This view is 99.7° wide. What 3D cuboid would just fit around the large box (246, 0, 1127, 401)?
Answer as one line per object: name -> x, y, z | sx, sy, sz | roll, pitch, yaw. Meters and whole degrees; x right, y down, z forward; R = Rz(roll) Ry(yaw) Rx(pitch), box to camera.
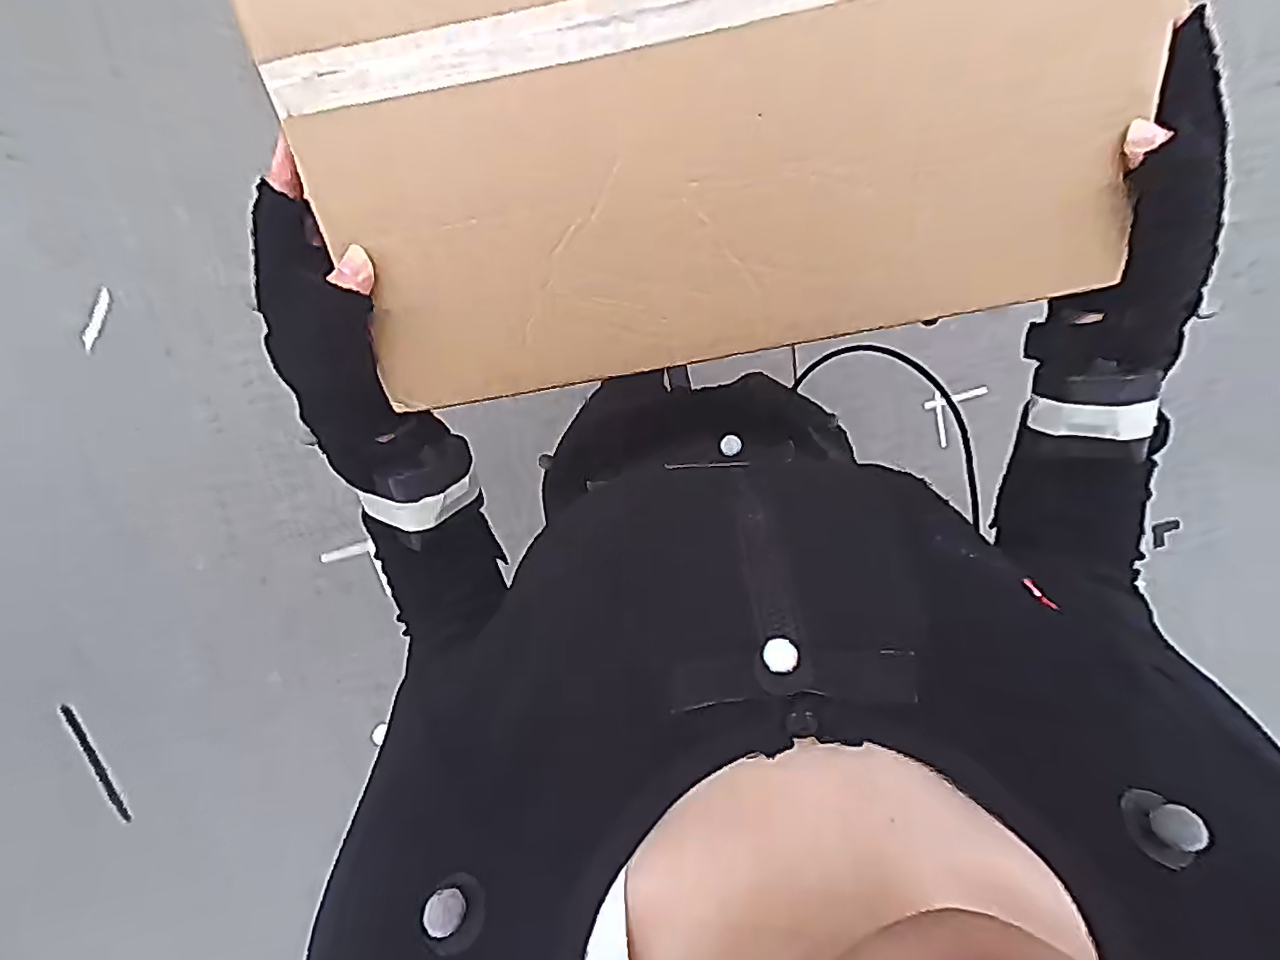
large box -> 0.022, -0.281, 0.380 | 0.408, 0.320, 0.320 | -10, 114, 3
